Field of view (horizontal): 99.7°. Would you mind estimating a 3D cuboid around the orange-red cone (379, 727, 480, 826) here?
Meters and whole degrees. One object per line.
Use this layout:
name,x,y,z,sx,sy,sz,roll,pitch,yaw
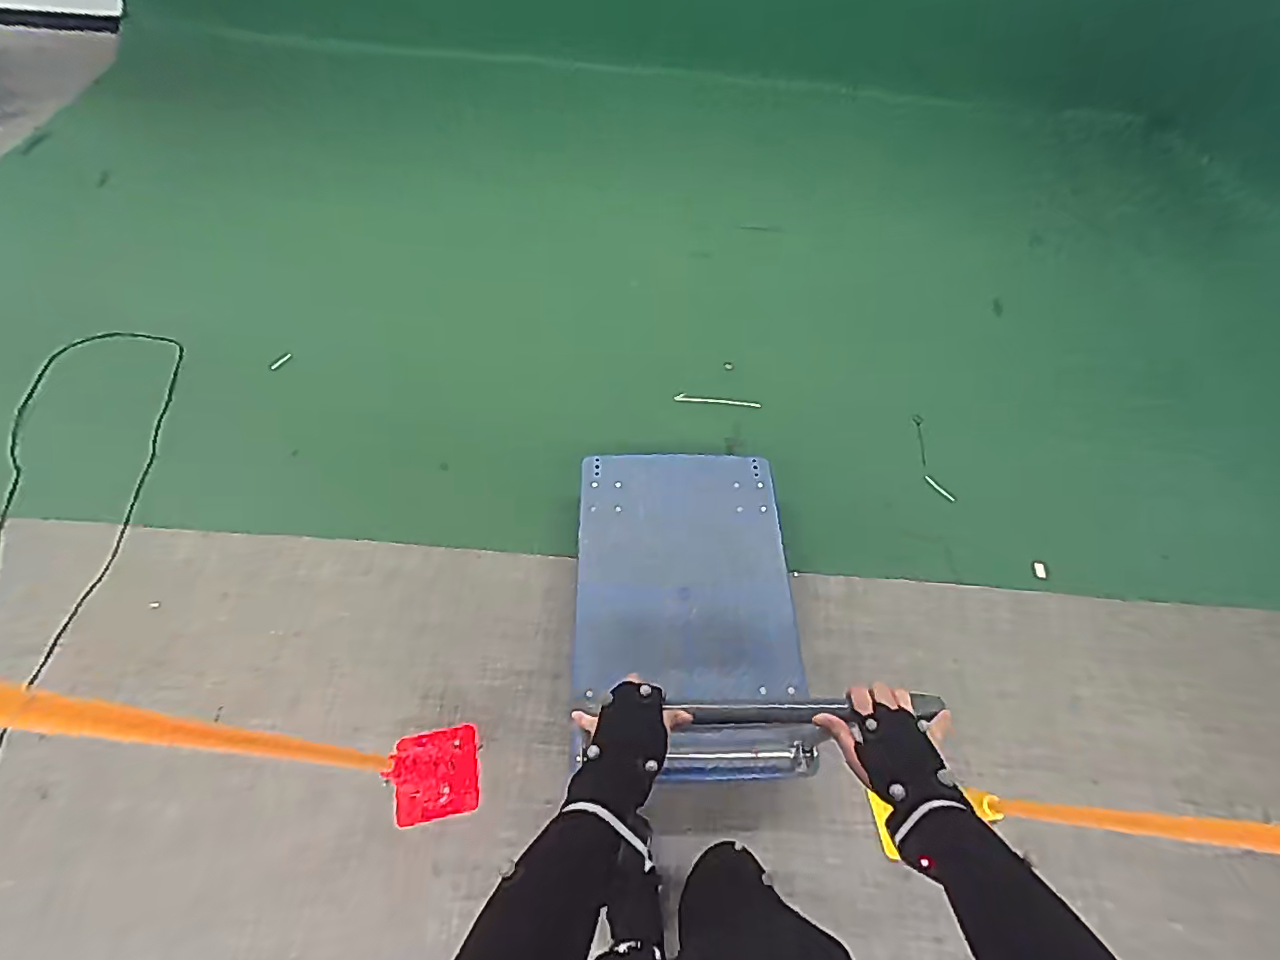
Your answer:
orange-red cone,-0.495,0.644,1.197,0.199,0.360,0.198,-9,60,-6
